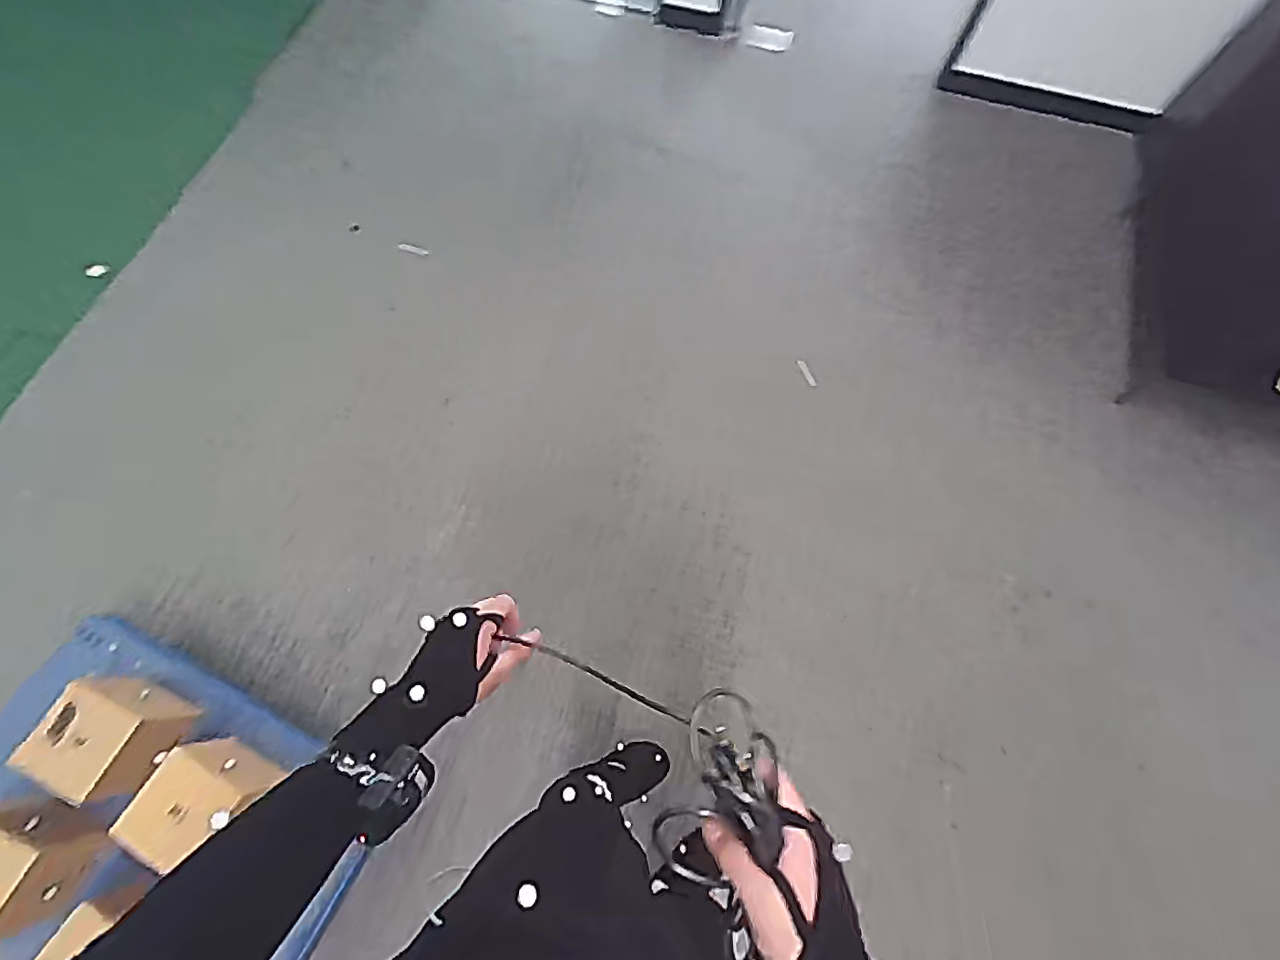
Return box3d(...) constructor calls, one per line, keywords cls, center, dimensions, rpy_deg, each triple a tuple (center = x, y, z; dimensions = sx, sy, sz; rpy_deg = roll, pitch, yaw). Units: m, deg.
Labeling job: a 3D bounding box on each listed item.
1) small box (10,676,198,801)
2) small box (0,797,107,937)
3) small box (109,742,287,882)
box3d(cls="small box", center=(-1.088, 0.523, 1.114), dimensions=(0.179, 0.176, 0.168), rpy_deg=(26, 72, 6))
box3d(cls="small box", center=(-1.205, 0.737, 1.033), dimensions=(0.179, 0.176, 0.168), rpy_deg=(24, 70, 6))
box3d(cls="small box", center=(-0.867, 0.647, 1.081), dimensions=(0.179, 0.176, 0.168), rpy_deg=(29, 71, 7))
